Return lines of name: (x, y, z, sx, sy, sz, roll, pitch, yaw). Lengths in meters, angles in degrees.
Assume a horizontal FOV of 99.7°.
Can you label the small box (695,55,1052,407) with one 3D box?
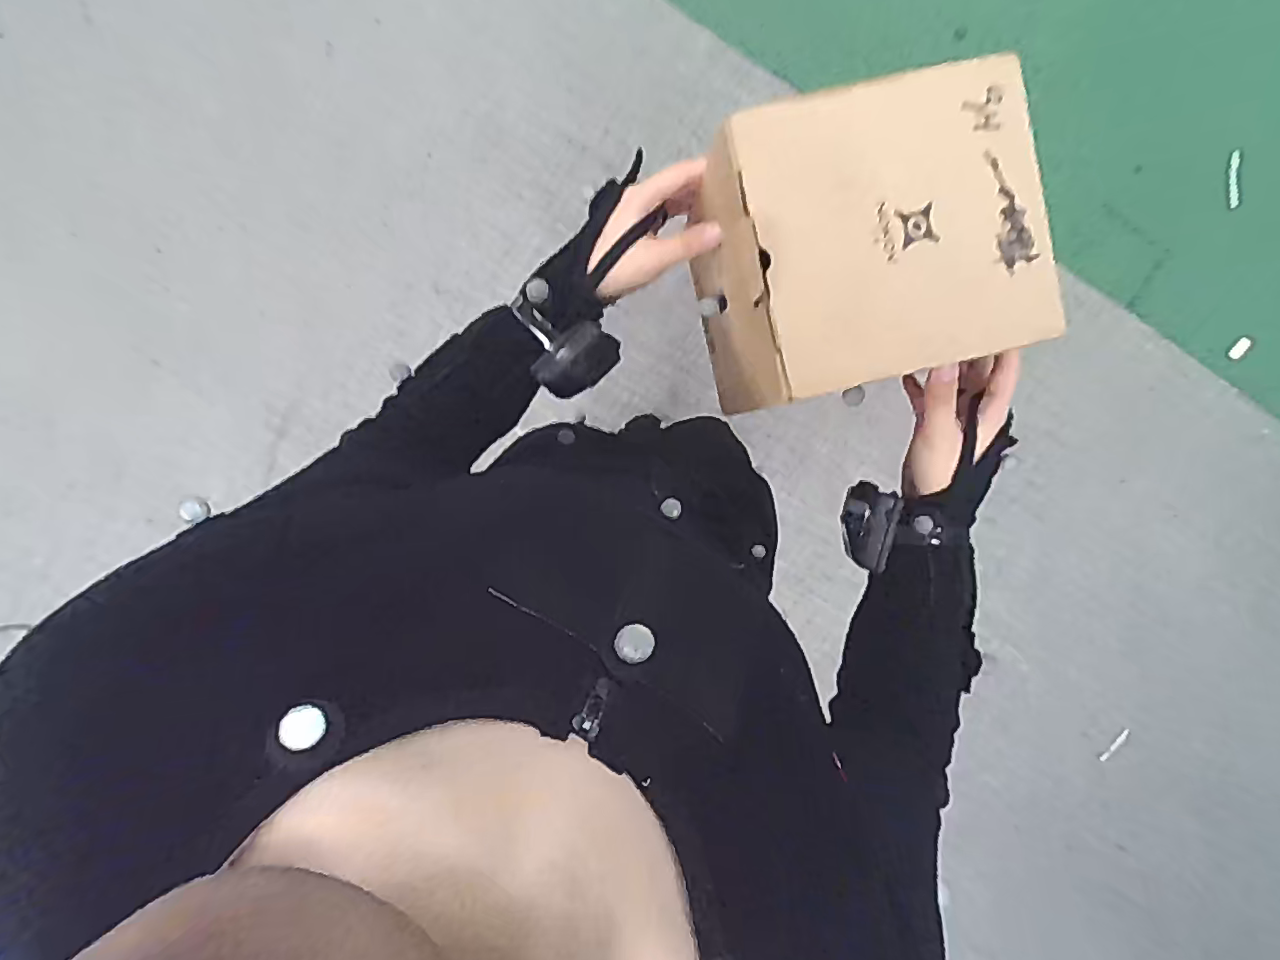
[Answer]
small box: (0.143, -0.155, 0.398, 0.179, 0.176, 0.168, -14, 95, -2)
